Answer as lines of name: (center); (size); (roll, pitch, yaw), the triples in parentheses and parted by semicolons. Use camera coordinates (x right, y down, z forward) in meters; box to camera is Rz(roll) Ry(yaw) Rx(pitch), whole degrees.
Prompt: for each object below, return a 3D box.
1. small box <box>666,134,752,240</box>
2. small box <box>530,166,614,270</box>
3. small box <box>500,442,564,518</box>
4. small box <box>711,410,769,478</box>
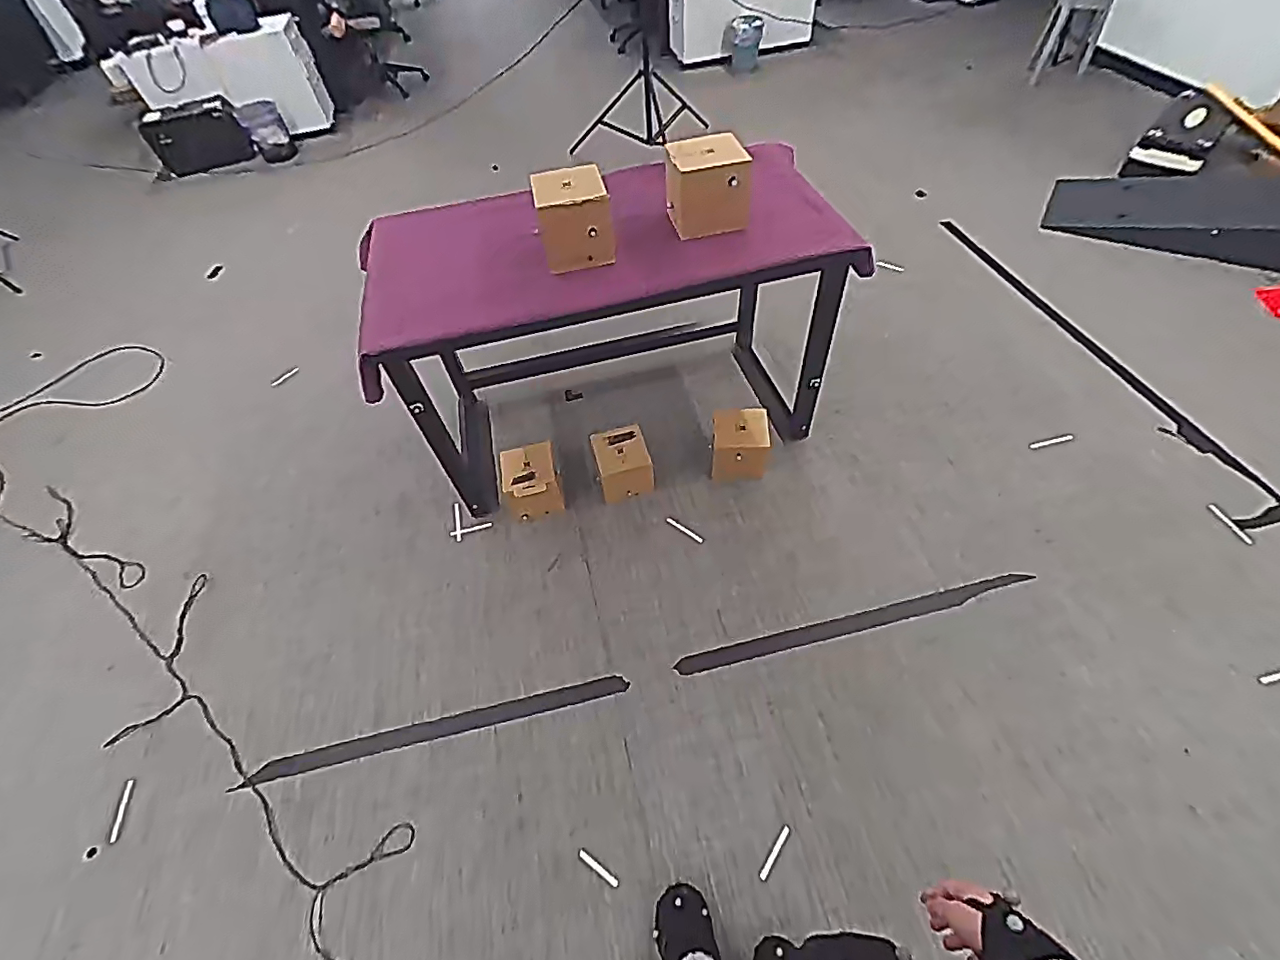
small box: (0.168, -0.733, 1.360); (0.179, 0.176, 0.168); (-12, 53, -3)
small box: (-0.162, -0.630, 1.317); (0.168, 0.176, 0.179); (-12, 51, -5)
small box: (-0.352, 0.008, 1.771); (0.168, 0.176, 0.179); (-13, 52, -4)
small box: (0.328, -0.117, 1.802); (0.179, 0.176, 0.168); (-1, 54, 6)
